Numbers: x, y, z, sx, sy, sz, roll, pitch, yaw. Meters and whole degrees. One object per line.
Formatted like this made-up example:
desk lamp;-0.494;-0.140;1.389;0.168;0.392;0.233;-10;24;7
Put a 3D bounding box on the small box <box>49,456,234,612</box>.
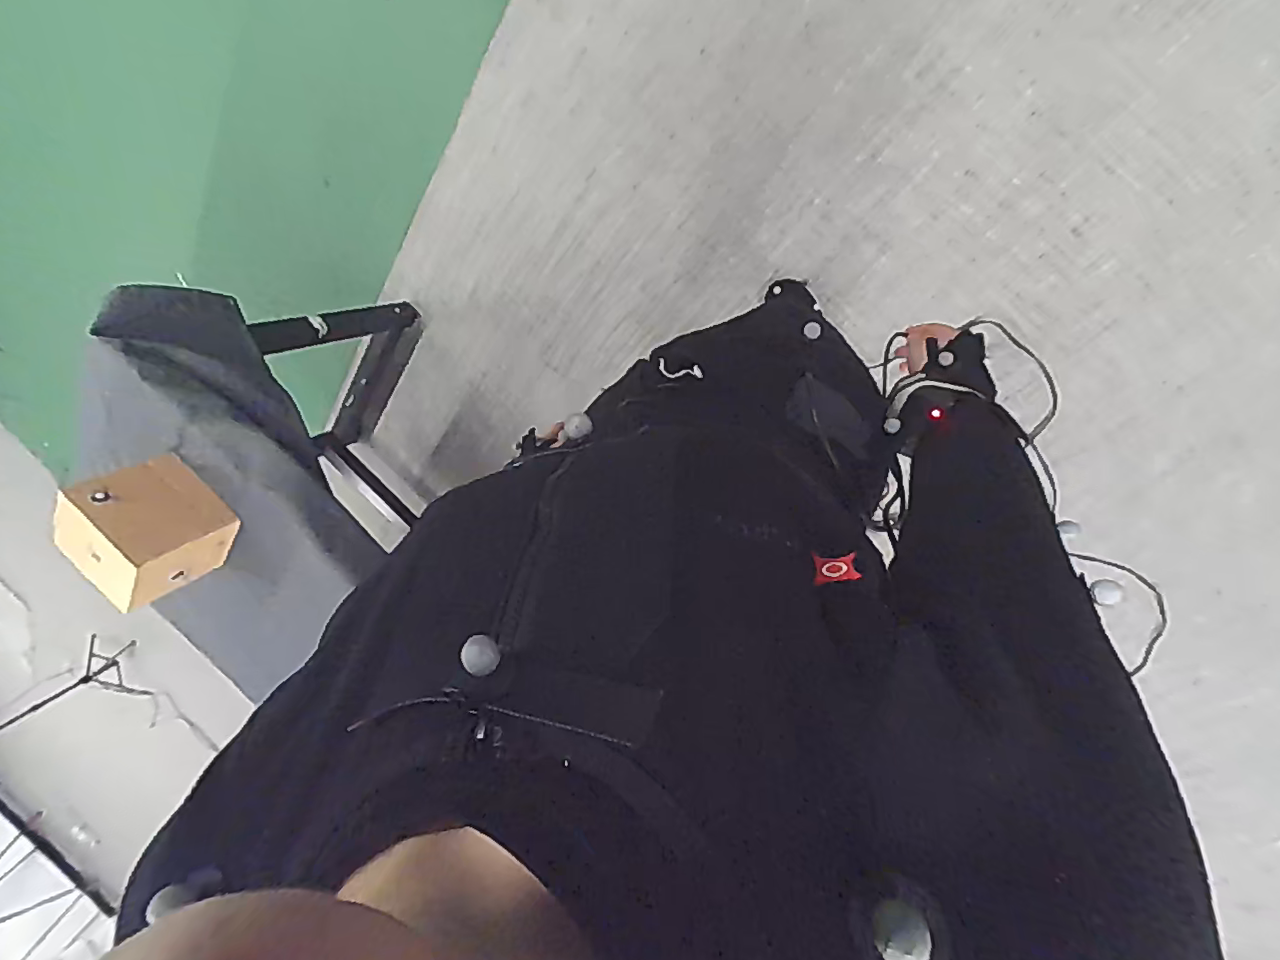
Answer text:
small box;-0.855;0.087;0.937;0.179;0.176;0.168;46;122;-2
